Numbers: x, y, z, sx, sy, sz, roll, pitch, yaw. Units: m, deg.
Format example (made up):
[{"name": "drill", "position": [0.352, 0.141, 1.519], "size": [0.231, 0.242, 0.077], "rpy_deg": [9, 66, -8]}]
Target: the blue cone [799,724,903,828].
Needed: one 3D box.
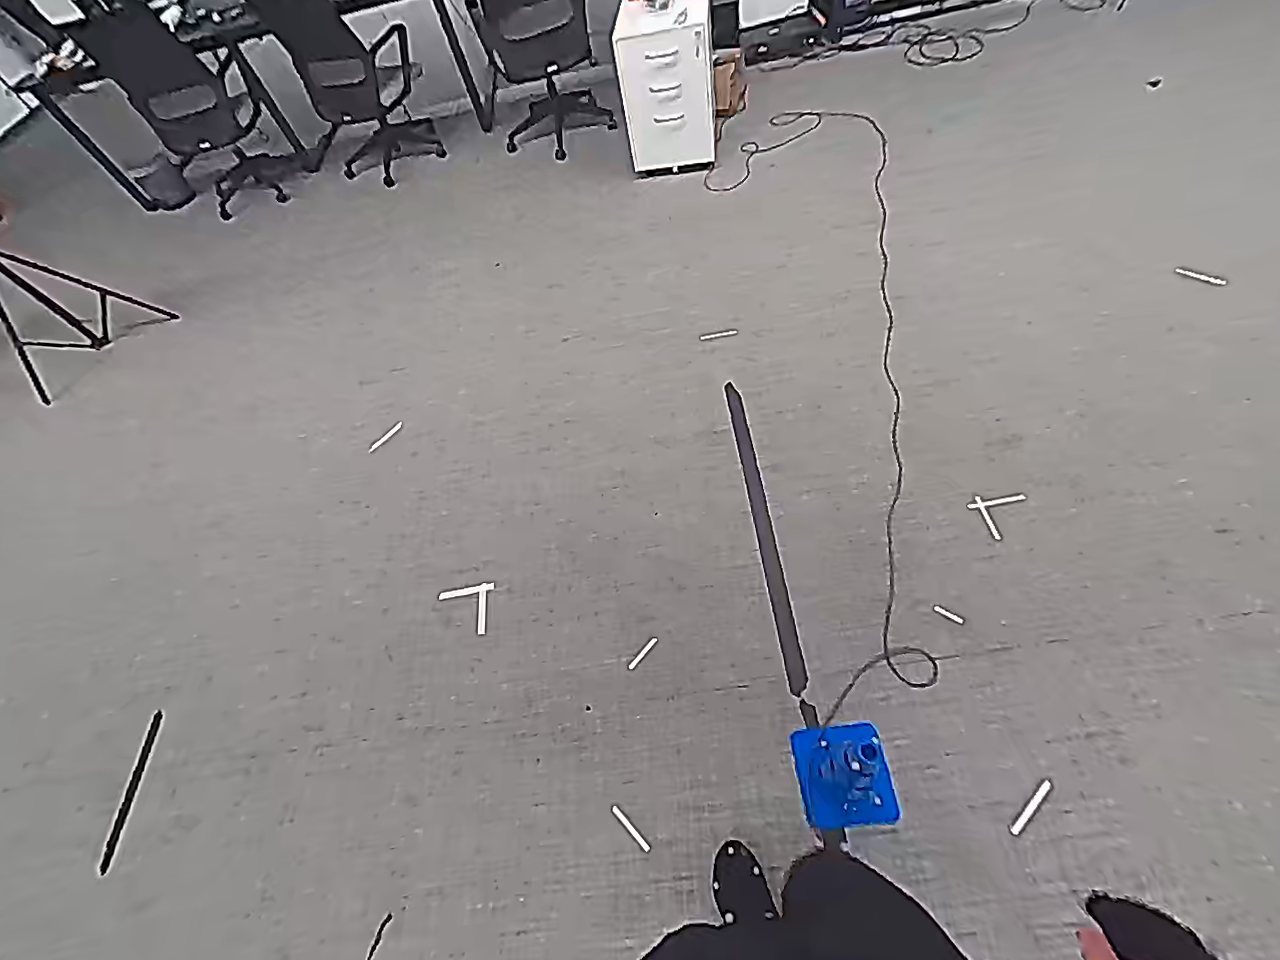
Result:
[{"name": "blue cone", "position": [0.436, 0.561, 1.068], "size": [0.193, 0.380, 0.192], "rpy_deg": [-10, 55, 4]}]
